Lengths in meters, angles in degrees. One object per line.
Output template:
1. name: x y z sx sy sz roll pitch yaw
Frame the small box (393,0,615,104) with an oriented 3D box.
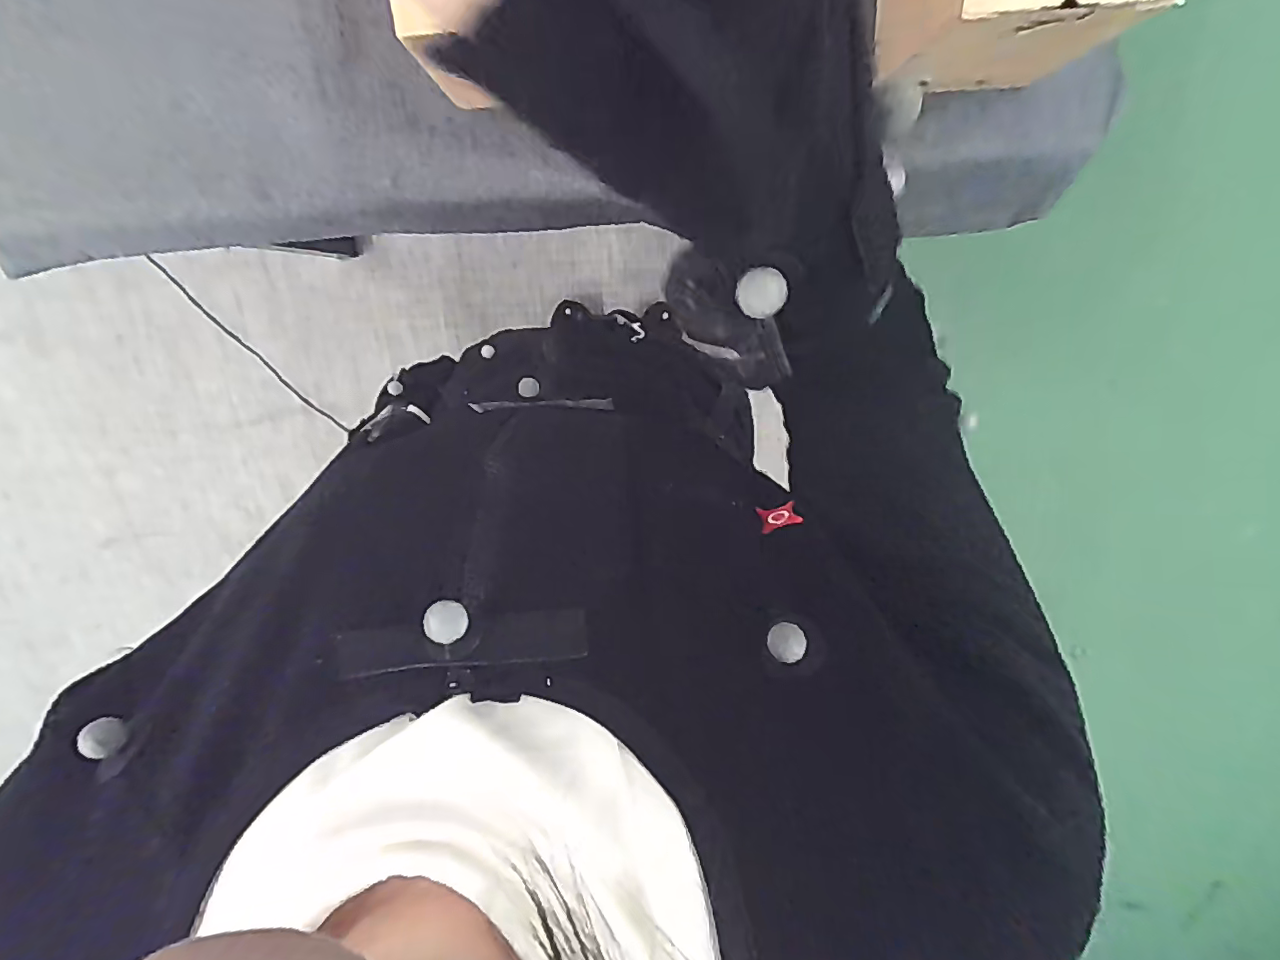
1. small box: -0.110 -0.453 0.457 0.168 0.176 0.179 -5 108 1

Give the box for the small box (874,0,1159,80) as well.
1. small box: 0.317 -0.469 0.460 0.168 0.176 0.179 -3 108 0
